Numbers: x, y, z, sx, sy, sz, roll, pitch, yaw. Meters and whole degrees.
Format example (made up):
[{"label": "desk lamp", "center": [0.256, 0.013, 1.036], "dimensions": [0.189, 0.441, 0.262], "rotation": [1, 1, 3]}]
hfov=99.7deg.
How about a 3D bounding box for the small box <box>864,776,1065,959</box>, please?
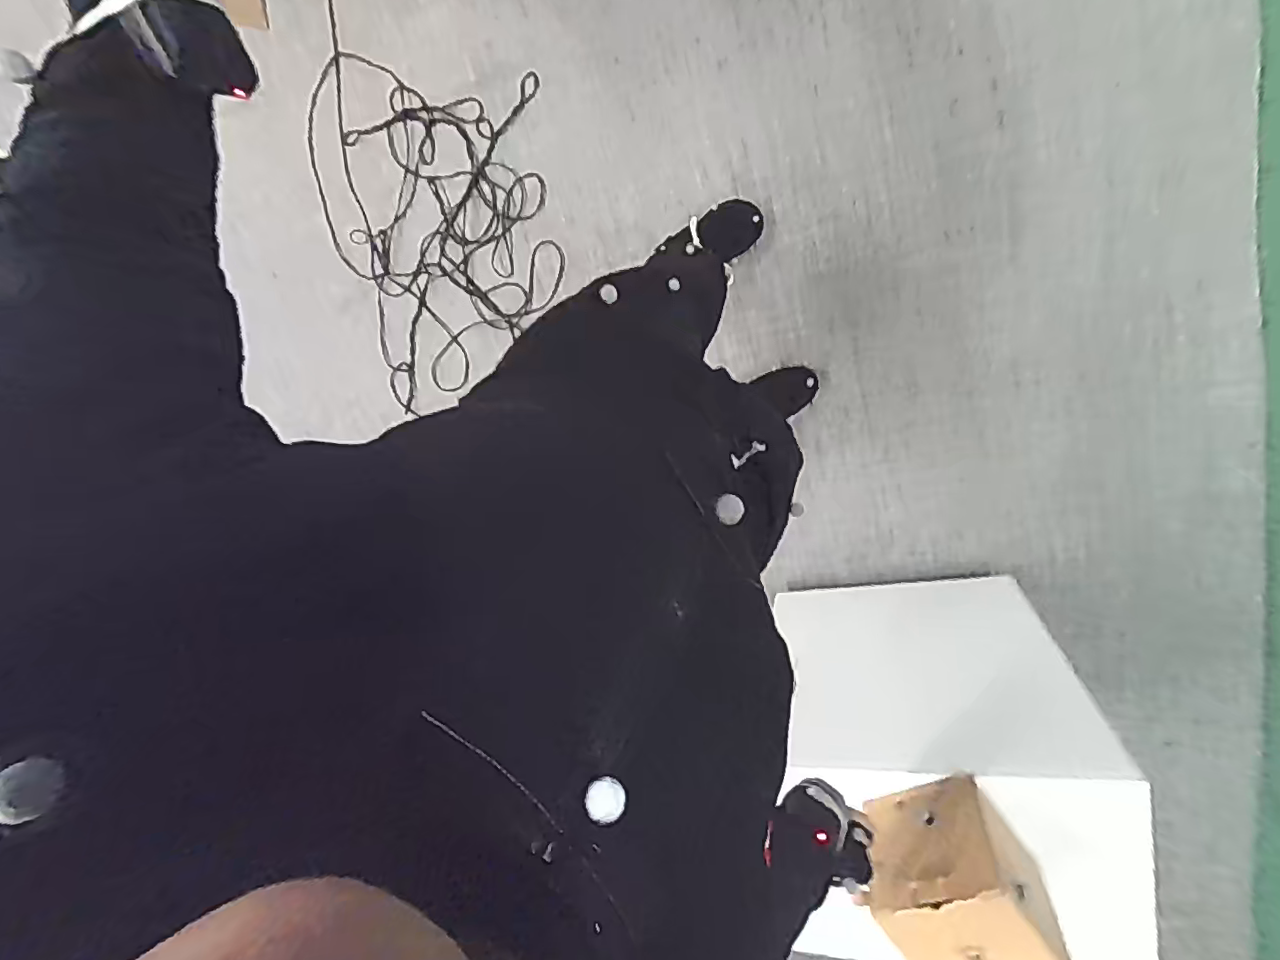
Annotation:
[{"label": "small box", "center": [0.419, 0.537, 0.714], "dimensions": [0.168, 0.176, 0.179], "rotation": [-35, 95, 26]}]
